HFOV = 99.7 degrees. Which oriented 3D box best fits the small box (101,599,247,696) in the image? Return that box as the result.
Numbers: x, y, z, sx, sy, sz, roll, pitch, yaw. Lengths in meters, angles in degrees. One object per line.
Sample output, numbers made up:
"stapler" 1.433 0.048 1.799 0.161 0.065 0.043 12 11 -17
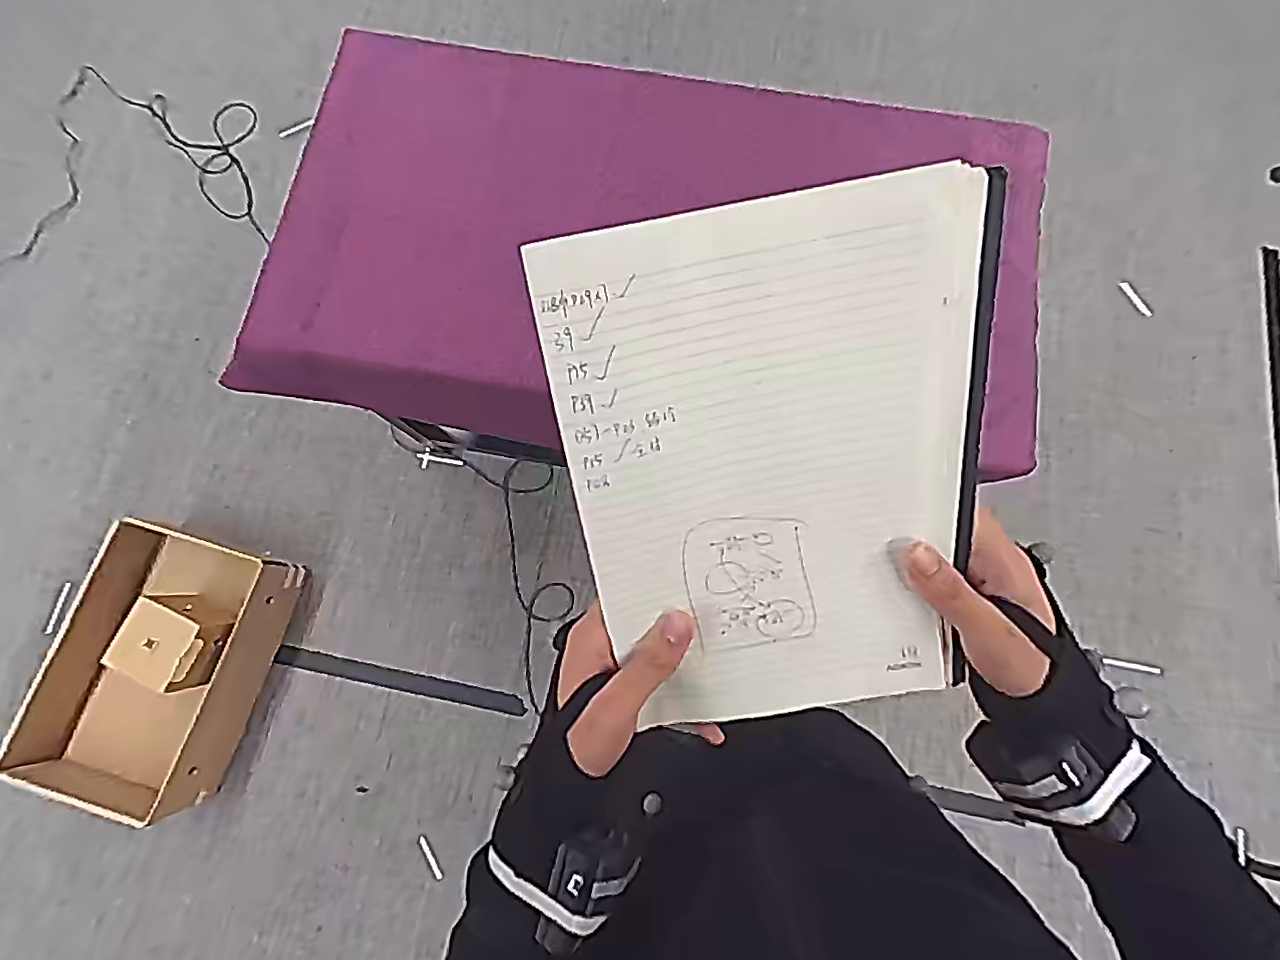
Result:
"small box" -1.118 0.396 1.316 0.179 0.176 0.168 24 79 5
